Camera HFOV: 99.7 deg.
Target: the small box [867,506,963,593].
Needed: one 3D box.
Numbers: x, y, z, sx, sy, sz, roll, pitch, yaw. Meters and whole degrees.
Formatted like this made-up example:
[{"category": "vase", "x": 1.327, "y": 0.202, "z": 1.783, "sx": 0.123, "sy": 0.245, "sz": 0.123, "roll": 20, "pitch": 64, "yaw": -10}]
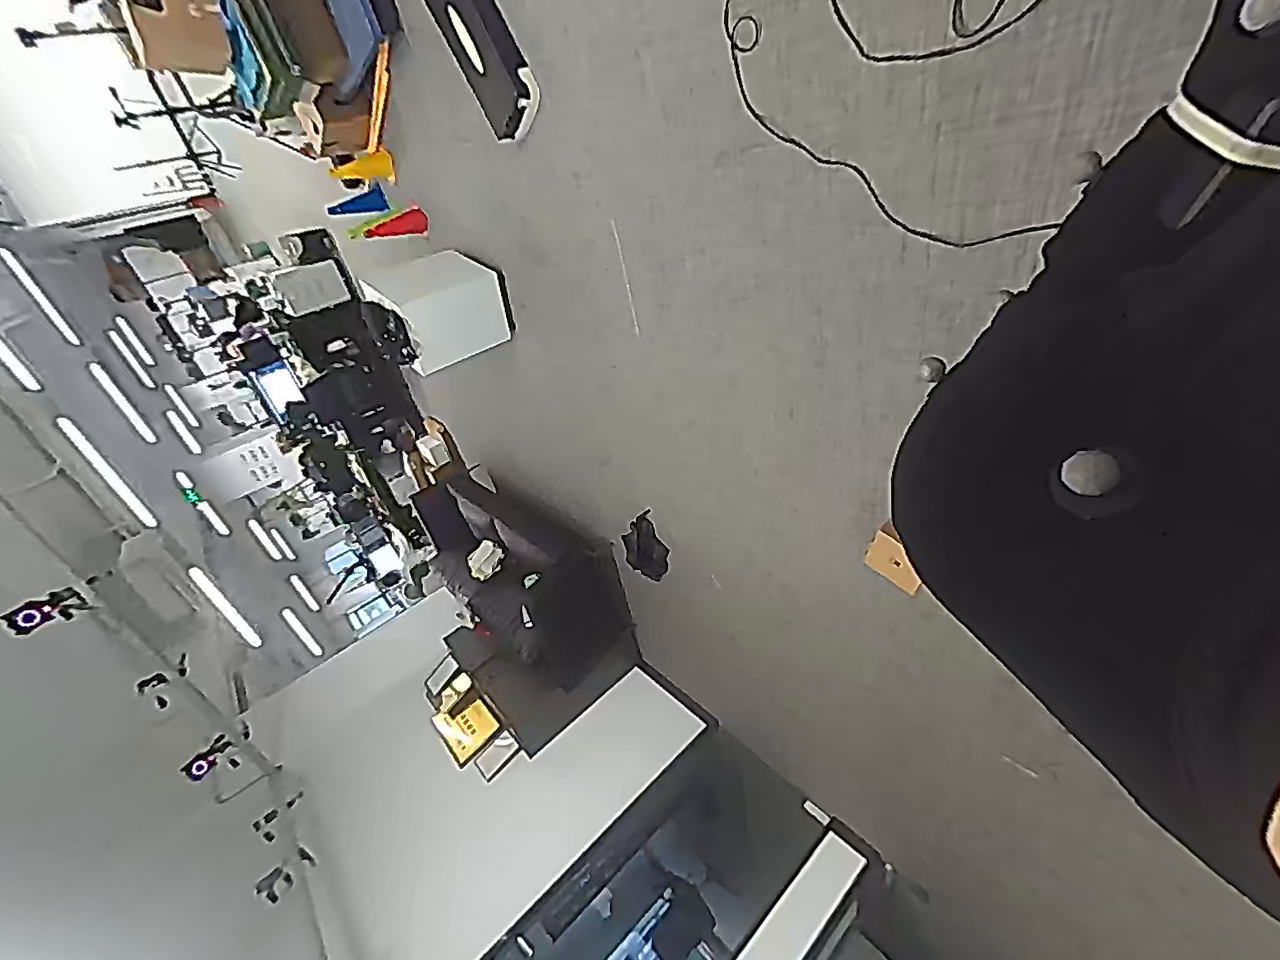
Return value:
[{"category": "small box", "x": 0.840, "y": 0.204, "z": 1.655, "sx": 0.179, "sy": 0.176, "sz": 0.168, "roll": 37, "pitch": 147, "yaw": 31}]
